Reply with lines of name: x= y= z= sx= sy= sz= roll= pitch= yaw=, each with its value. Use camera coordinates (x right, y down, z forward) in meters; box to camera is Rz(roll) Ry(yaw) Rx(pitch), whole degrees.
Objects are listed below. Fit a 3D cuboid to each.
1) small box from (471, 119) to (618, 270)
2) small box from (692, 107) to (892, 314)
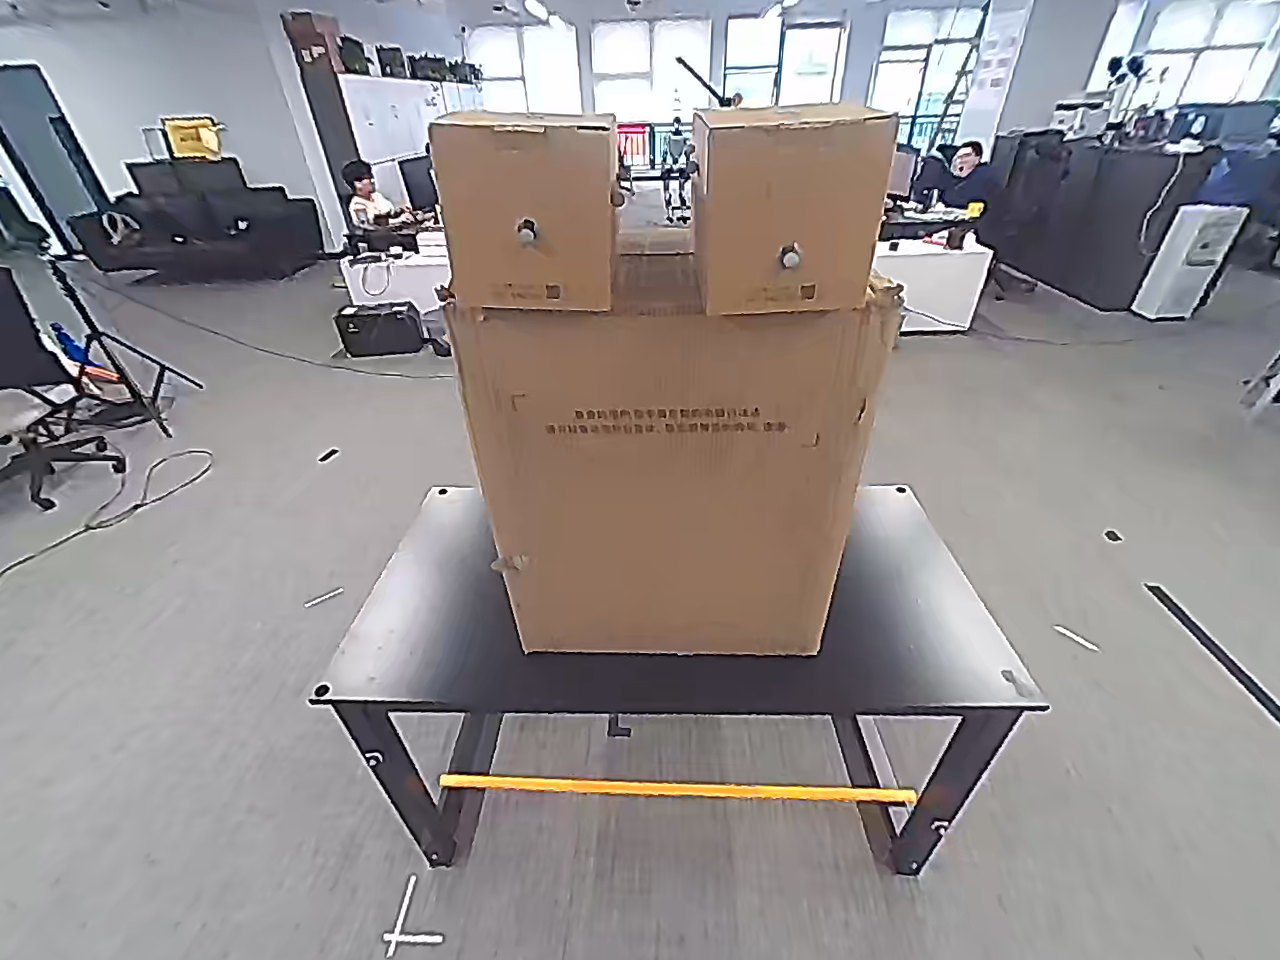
small box: x=-0.119 y=-0.401 z=0.757 sx=0.168 sy=0.176 sz=0.179 roll=-1 pitch=35 yaw=1
small box: x=0.142 y=-0.290 z=0.580 sx=0.168 sy=0.176 sz=0.179 roll=-3 pitch=38 yaw=3
